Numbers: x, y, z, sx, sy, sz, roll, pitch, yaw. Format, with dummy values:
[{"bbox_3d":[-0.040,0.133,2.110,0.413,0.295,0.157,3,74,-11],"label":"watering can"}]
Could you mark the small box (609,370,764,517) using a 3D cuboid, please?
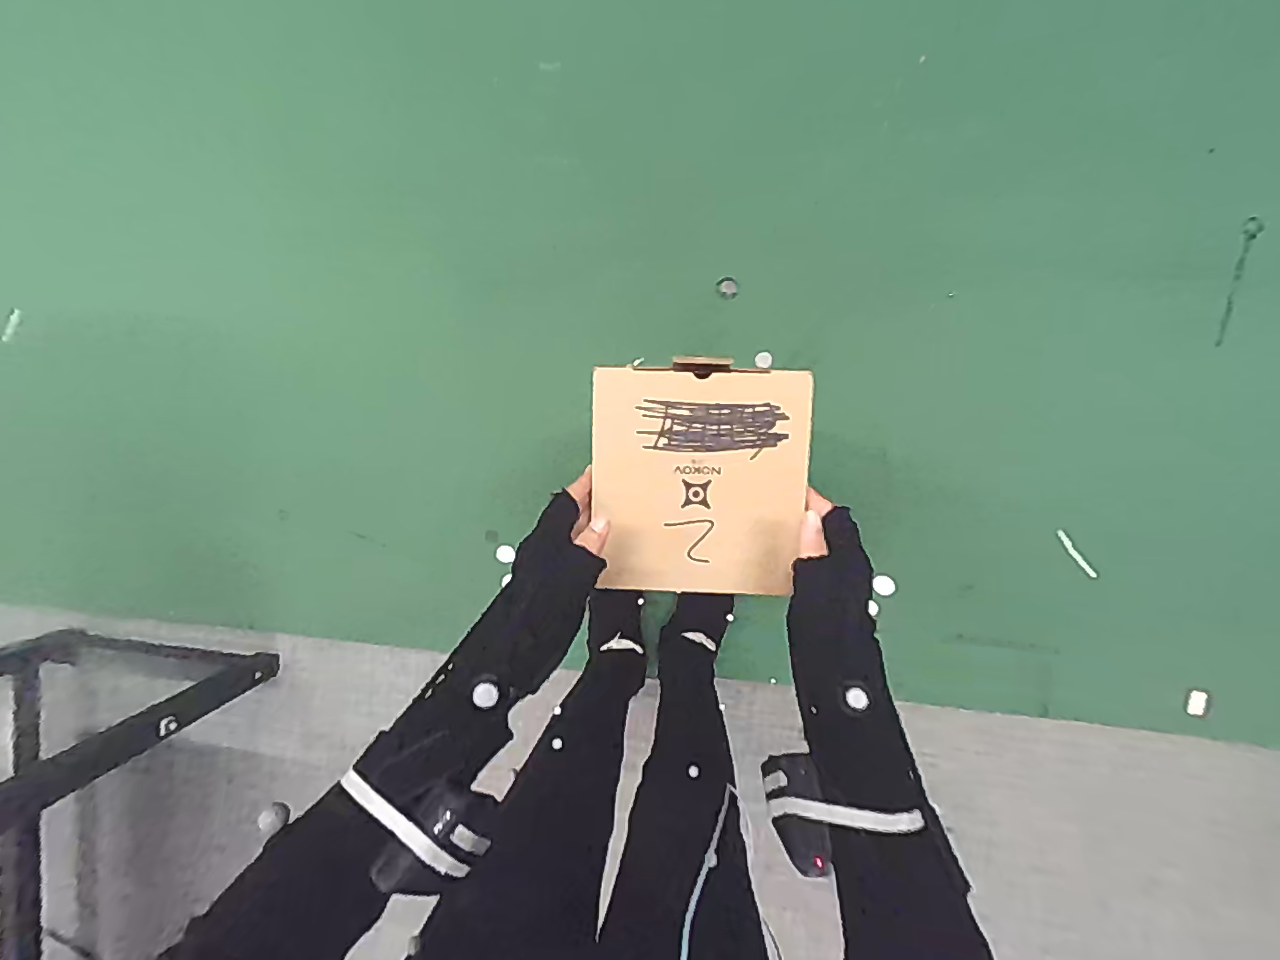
[{"bbox_3d":[0.062,-0.047,0.714,0.179,0.176,0.168,3,94,6],"label":"small box"}]
